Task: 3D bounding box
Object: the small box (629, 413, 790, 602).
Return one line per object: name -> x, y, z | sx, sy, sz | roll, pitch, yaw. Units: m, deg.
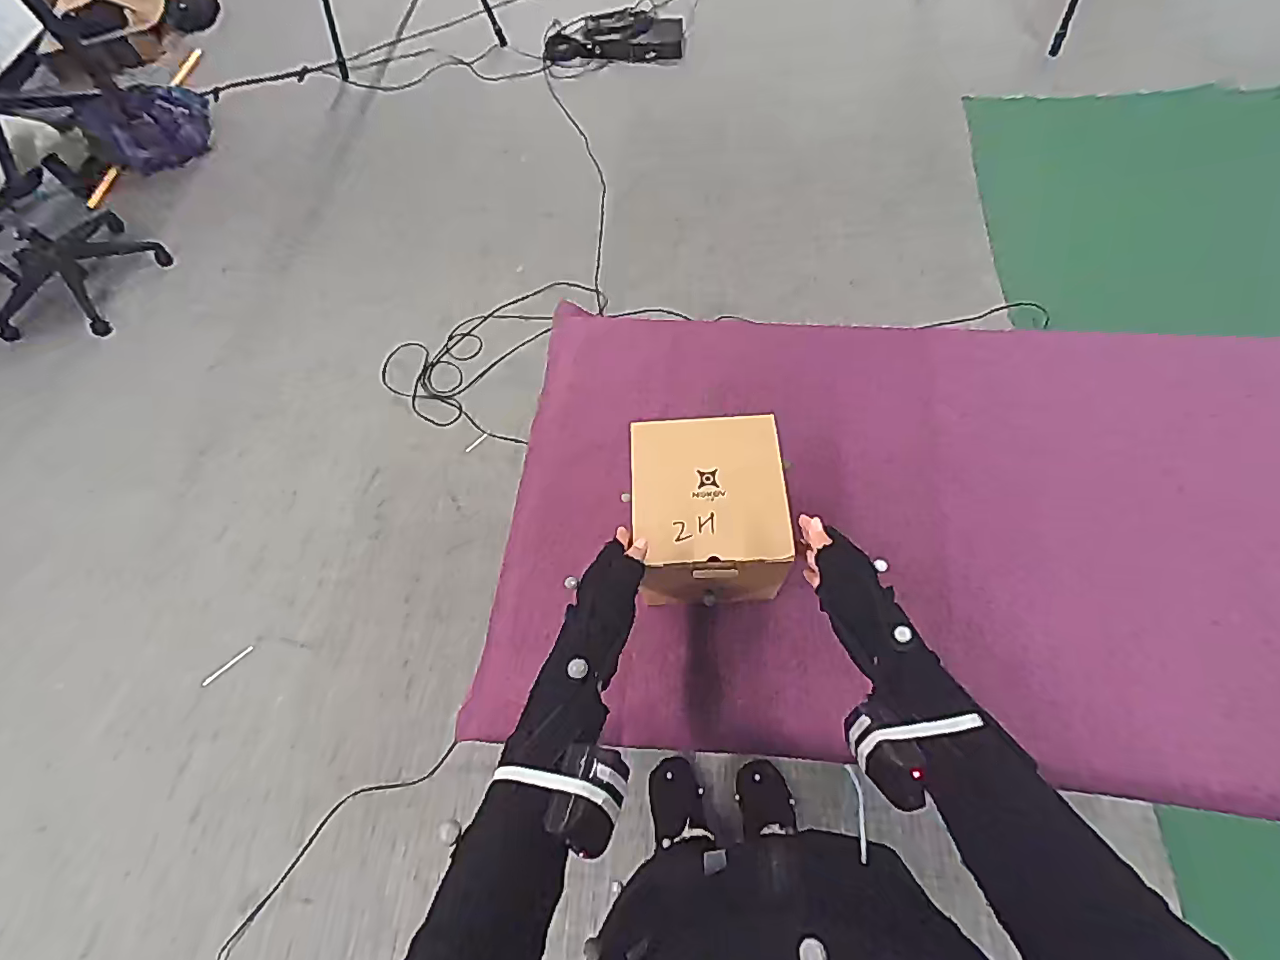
small box -> 0.076, 0.040, 0.653 | 0.168, 0.176, 0.179 | -3, 64, 4
